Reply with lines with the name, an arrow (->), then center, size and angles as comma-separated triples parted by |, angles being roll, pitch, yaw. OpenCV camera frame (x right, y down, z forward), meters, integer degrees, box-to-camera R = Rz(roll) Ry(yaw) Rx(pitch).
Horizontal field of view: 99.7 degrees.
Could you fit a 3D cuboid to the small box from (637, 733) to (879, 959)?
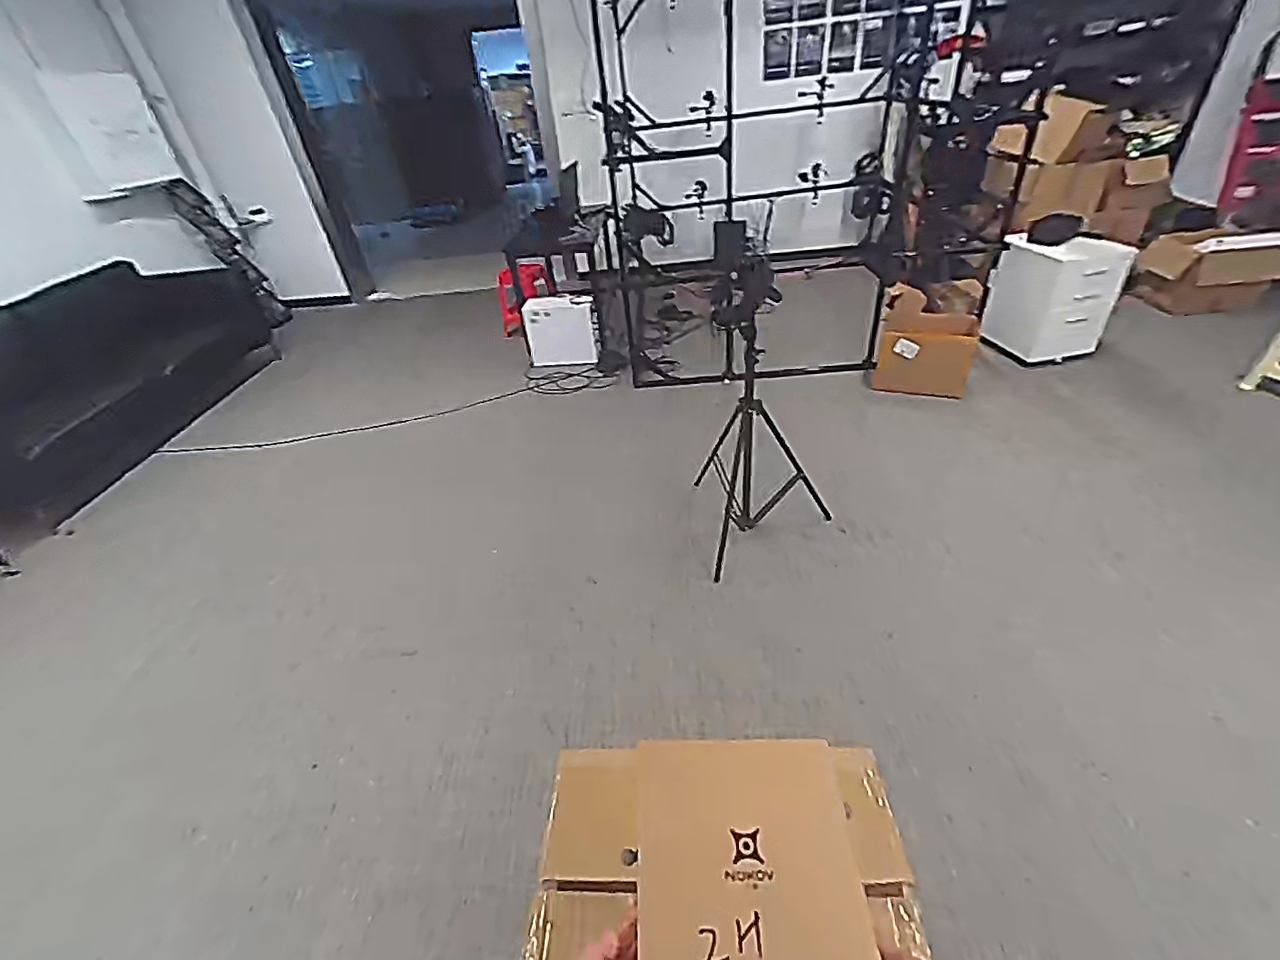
small box -> 0.081, 0.341, 0.464 | 0.168, 0.176, 0.179 | -1, 43, 1
